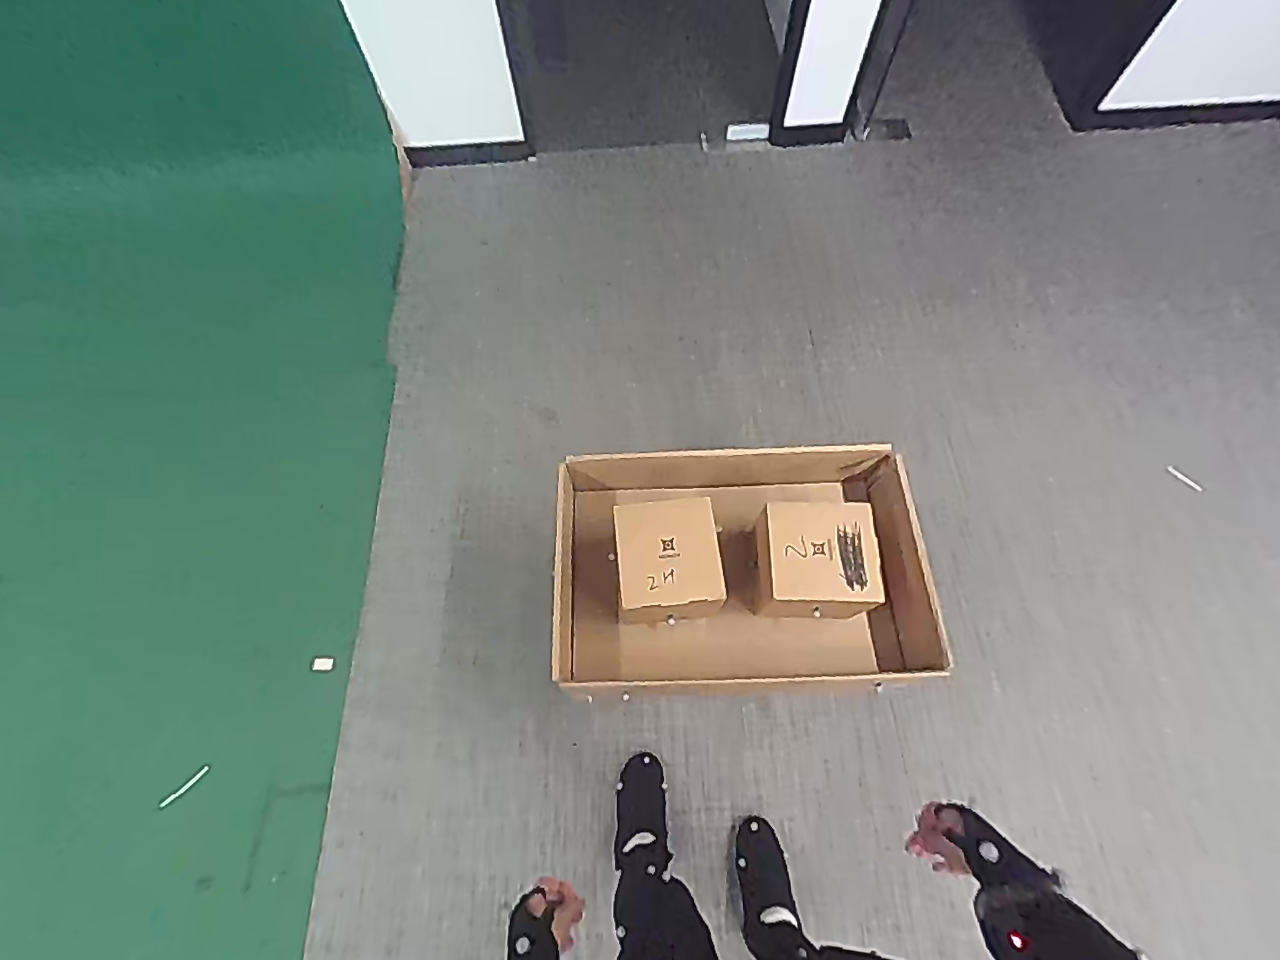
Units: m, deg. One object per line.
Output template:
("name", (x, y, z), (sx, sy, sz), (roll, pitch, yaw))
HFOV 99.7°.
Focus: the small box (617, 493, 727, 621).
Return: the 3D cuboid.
("small box", (0.048, 0.140, 0.945), (0.168, 0.176, 0.179), (-5, 67, -1))
